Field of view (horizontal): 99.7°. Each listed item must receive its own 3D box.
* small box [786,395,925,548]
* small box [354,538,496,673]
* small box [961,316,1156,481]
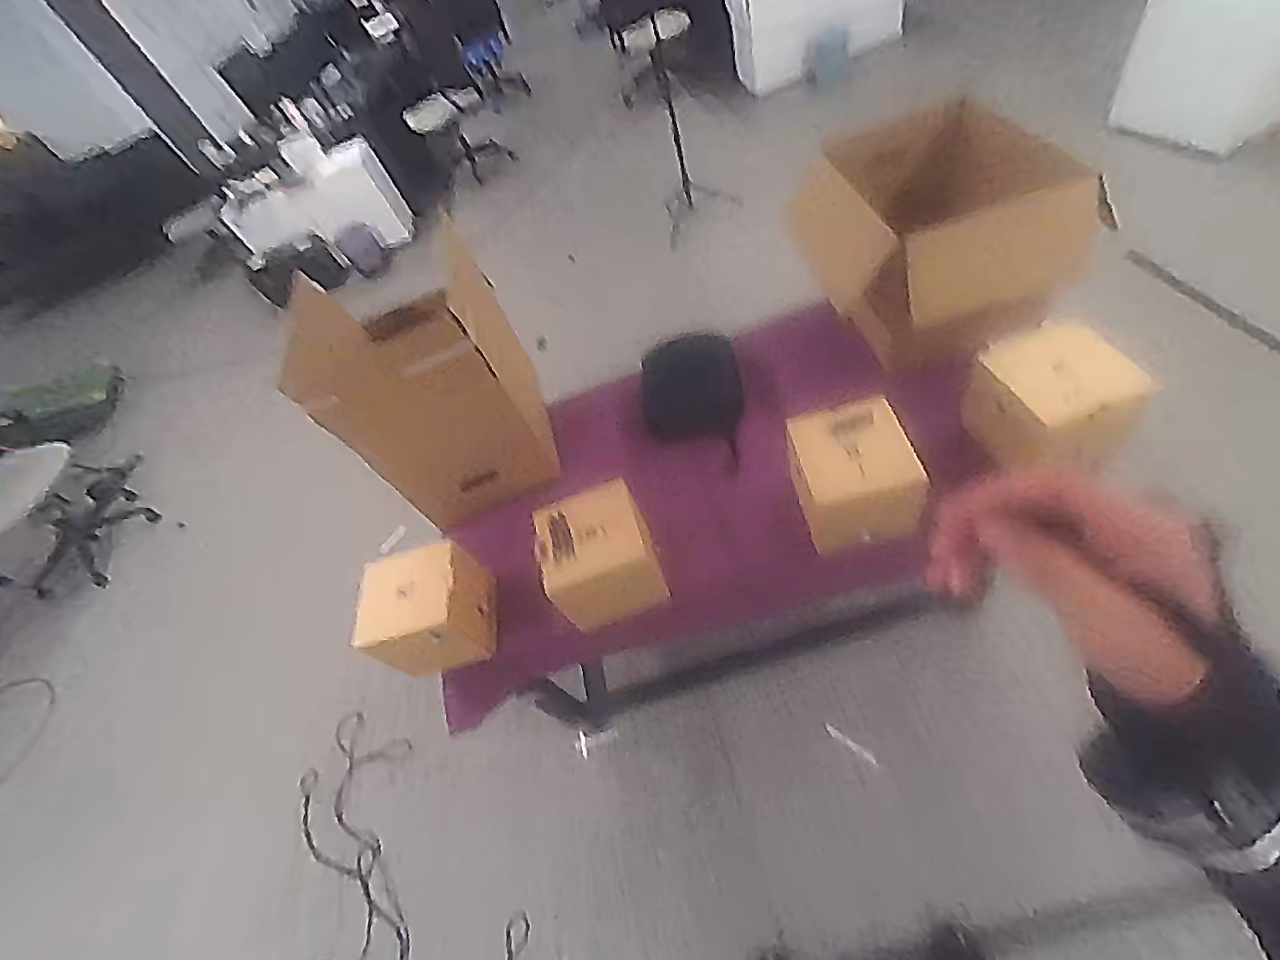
[{"bbox_3d":[0.353,-0.010,0.915,0.168,0.176,0.179,-15,53,9],"label":"small box"},{"bbox_3d":[-0.386,0.238,1.001,0.179,0.176,0.168,-18,51,5],"label":"small box"},{"bbox_3d":[0.663,-0.129,0.887,0.168,0.176,0.179,-21,51,6],"label":"small box"}]
